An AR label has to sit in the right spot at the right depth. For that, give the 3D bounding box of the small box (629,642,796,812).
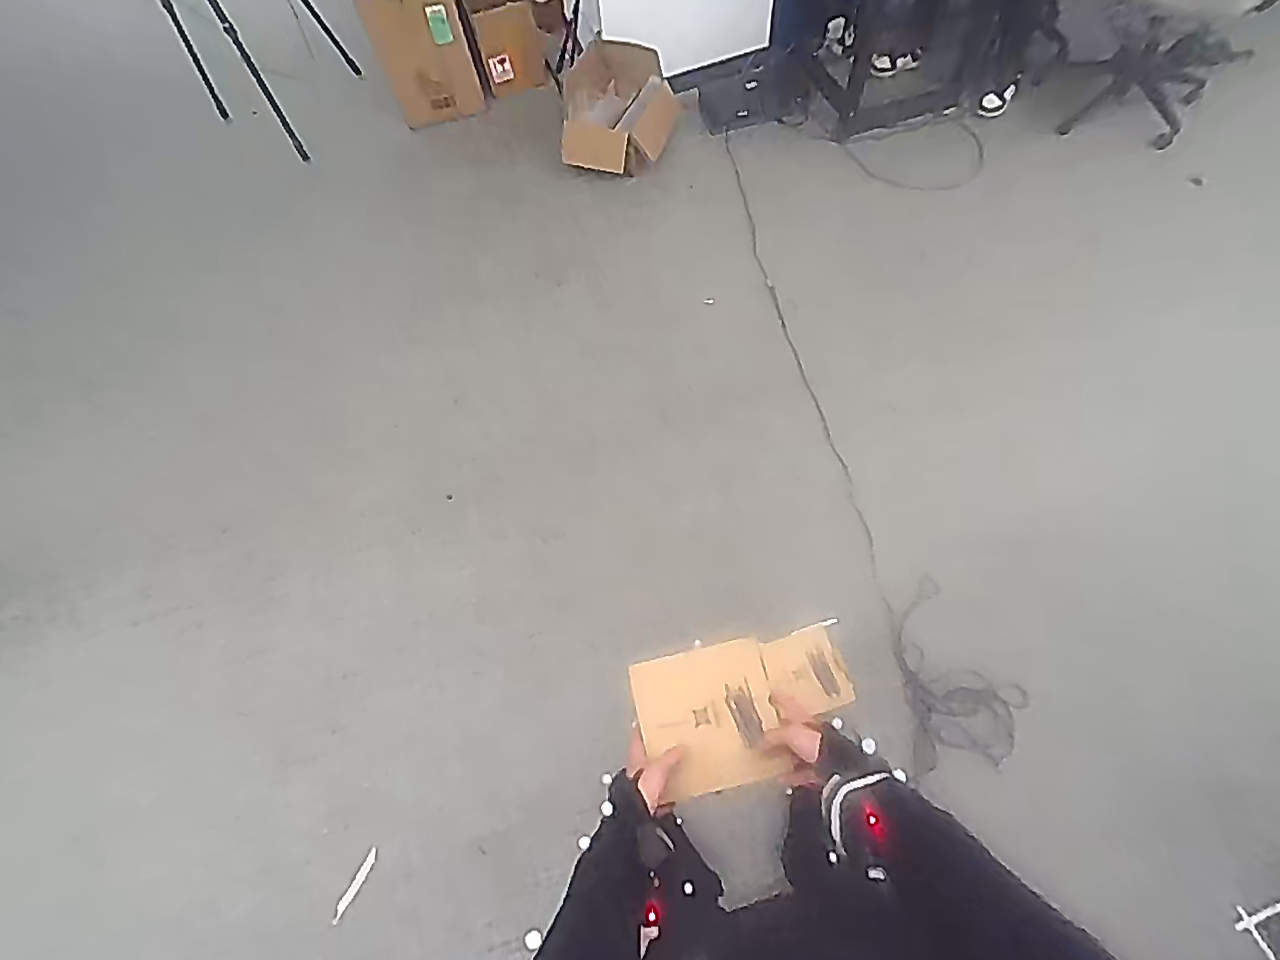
[{"bbox_3d":[0.091,0.329,0.744,0.179,0.176,0.168,-14,68,0],"label":"small box"}]
